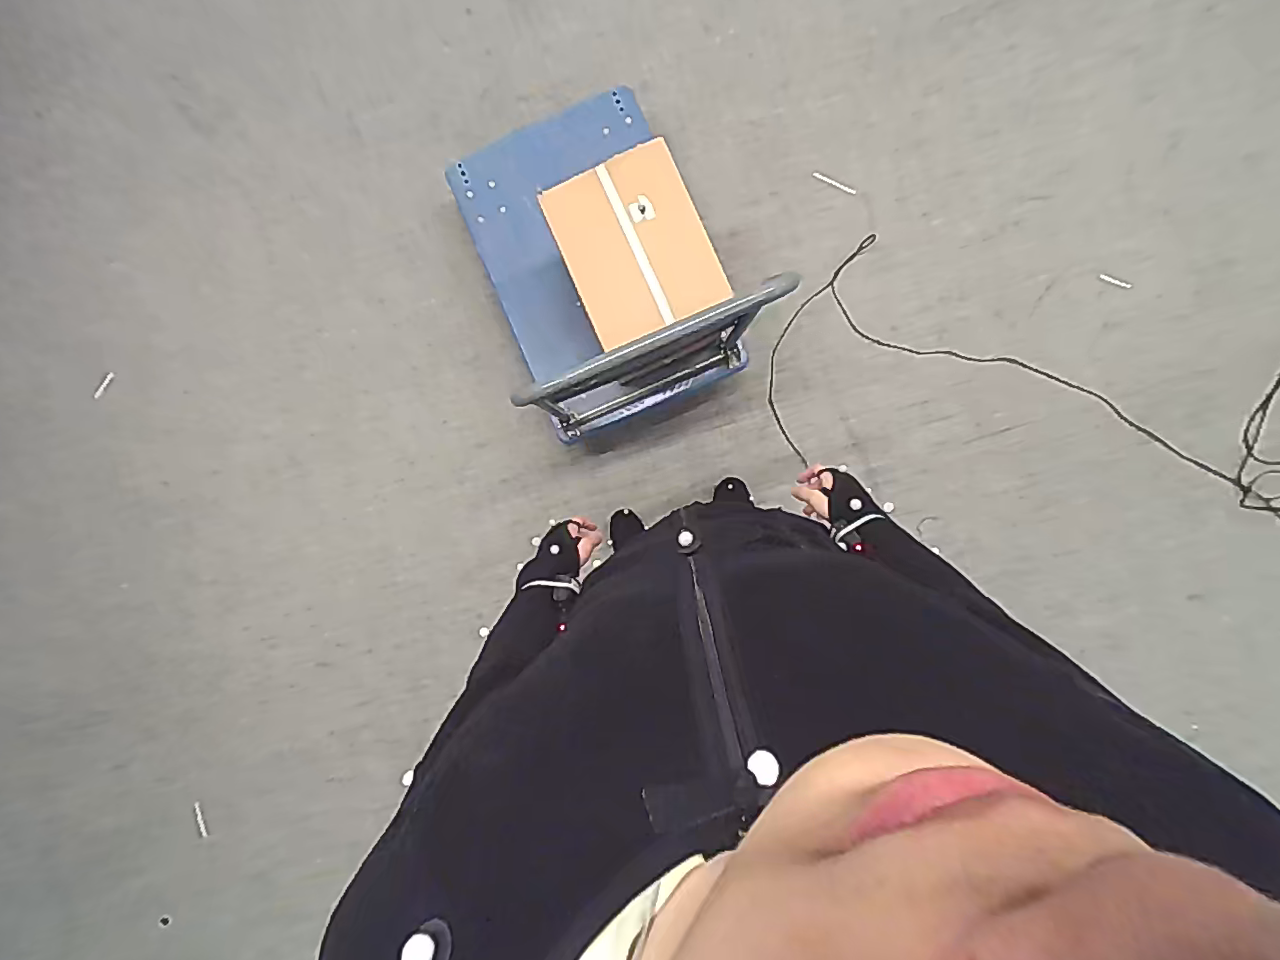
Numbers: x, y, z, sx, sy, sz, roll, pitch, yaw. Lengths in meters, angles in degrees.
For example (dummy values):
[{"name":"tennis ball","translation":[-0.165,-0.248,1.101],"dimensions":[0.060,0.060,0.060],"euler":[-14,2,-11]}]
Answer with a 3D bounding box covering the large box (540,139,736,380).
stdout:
[{"name":"large box","translation":[0.004,-0.517,1.351],"dimensions":[0.320,0.320,0.408],"euler":[-24,87,2]}]
